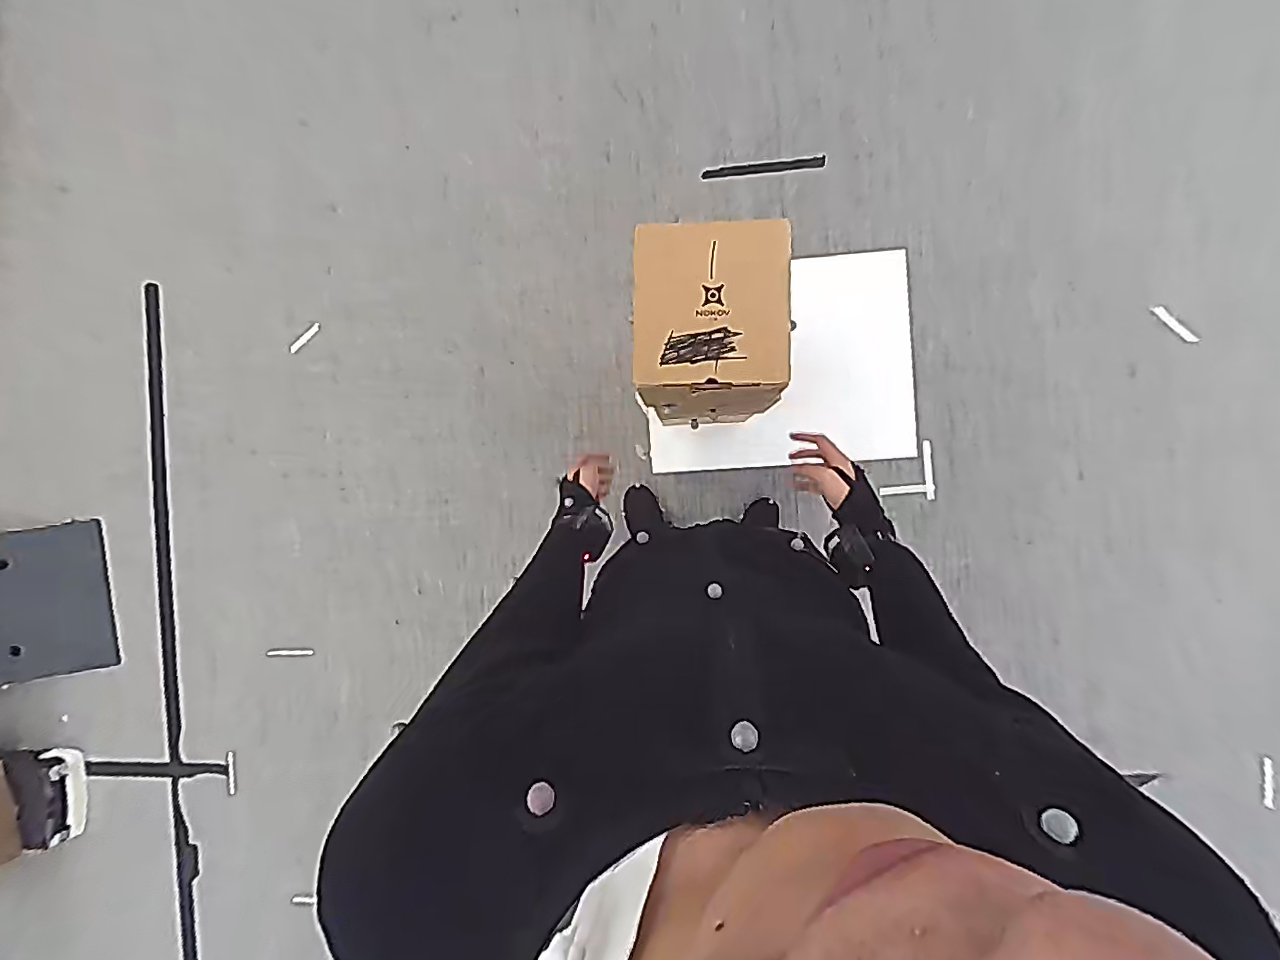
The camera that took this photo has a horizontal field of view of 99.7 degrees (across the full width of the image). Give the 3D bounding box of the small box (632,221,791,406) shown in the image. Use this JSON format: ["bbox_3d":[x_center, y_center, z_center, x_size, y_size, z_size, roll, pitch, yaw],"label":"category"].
[{"bbox_3d":[0.081,-0.184,0.649,0.168,0.176,0.179,1,90,4],"label":"small box"}]

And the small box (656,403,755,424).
[{"bbox_3d":[0.113,-0.194,0.976,0.168,0.176,0.179,-3,90,4],"label":"small box"}]
